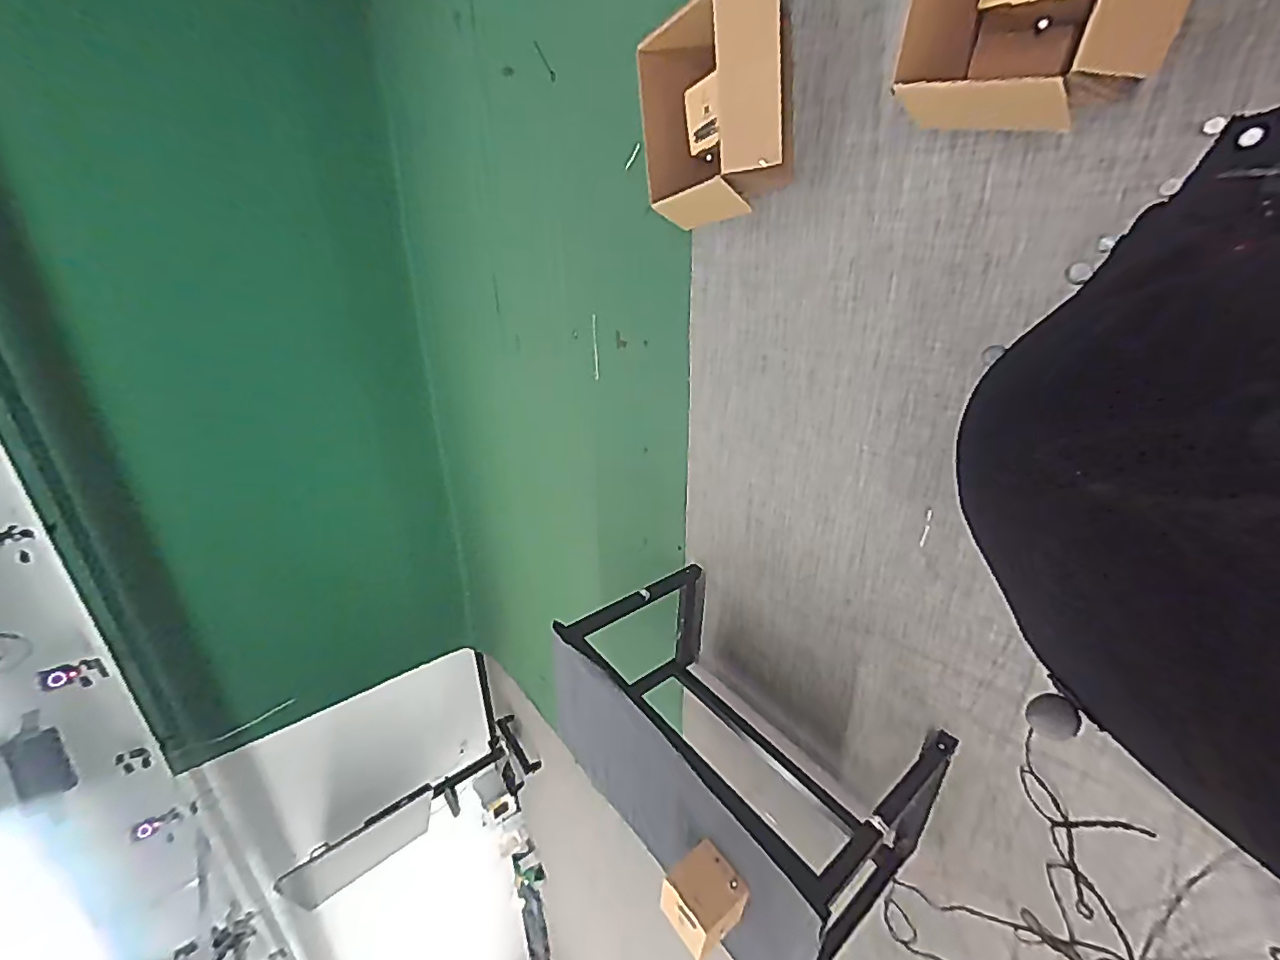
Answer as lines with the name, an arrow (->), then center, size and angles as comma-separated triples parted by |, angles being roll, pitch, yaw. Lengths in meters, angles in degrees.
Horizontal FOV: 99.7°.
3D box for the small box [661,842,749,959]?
small box -> 0.179, 1.155, 1.490 | 0.168, 0.176, 0.179 | 34, 131, 42
